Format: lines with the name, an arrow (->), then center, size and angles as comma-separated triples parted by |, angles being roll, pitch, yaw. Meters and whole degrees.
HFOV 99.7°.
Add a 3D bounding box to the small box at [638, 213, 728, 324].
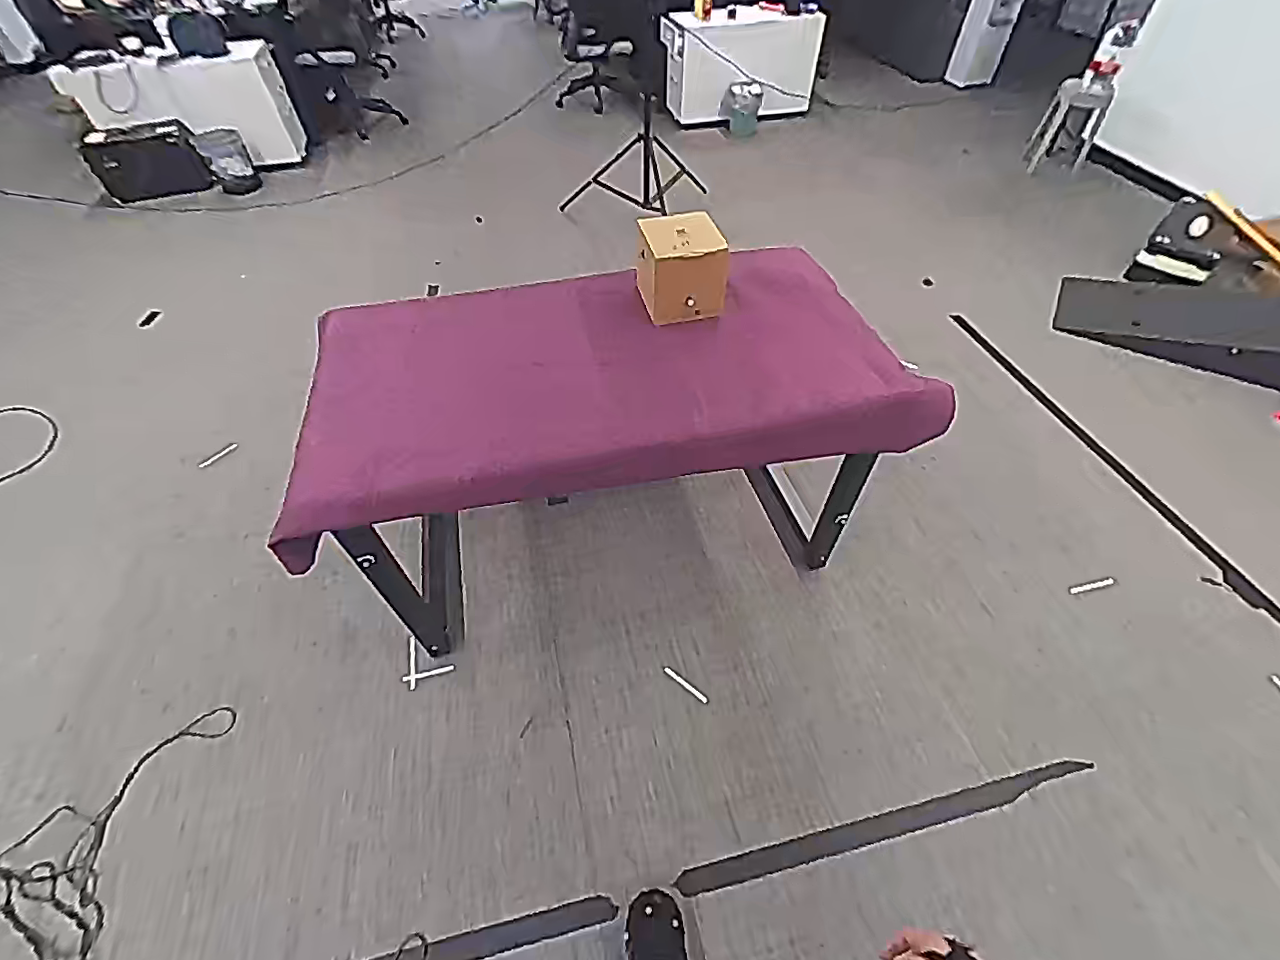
small box -> 0.090, -0.486, 1.248 | 0.168, 0.176, 0.179 | -11, 53, -8
